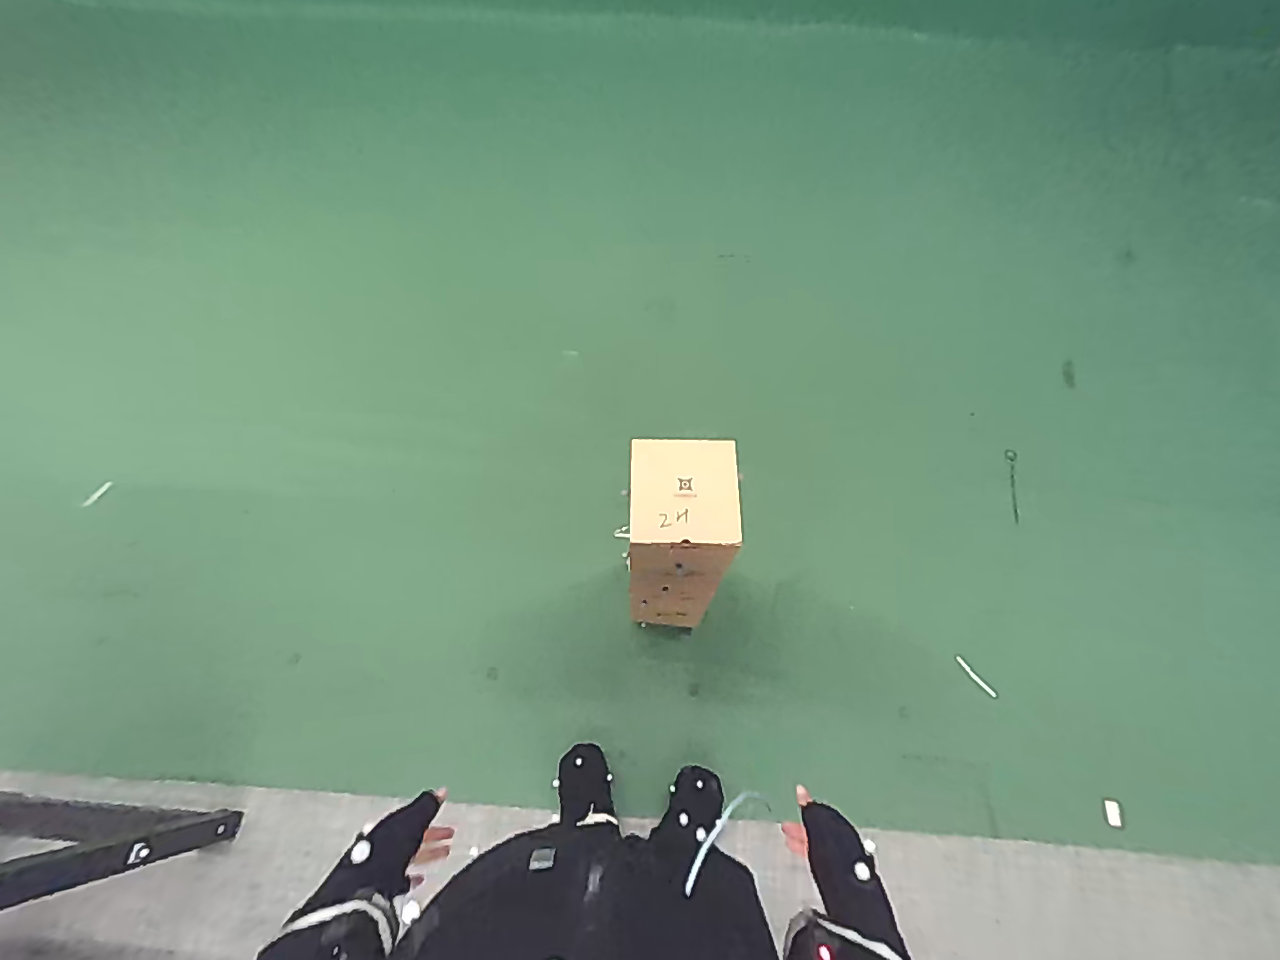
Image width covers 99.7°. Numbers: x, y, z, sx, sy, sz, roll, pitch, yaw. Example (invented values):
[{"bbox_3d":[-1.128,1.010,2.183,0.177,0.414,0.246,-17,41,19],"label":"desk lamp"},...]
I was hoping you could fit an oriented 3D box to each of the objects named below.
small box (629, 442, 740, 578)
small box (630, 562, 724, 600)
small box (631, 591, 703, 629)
[{"bbox_3d":[0.067,0.053,0.898,0.168,0.176,0.179,1,65,0],"label":"small box"},{"bbox_3d":[0.066,0.125,1.046,0.168,0.176,0.179,2,65,0],"label":"small box"},{"bbox_3d":[0.070,0.267,1.341,0.168,0.176,0.179,5,65,2],"label":"small box"}]
